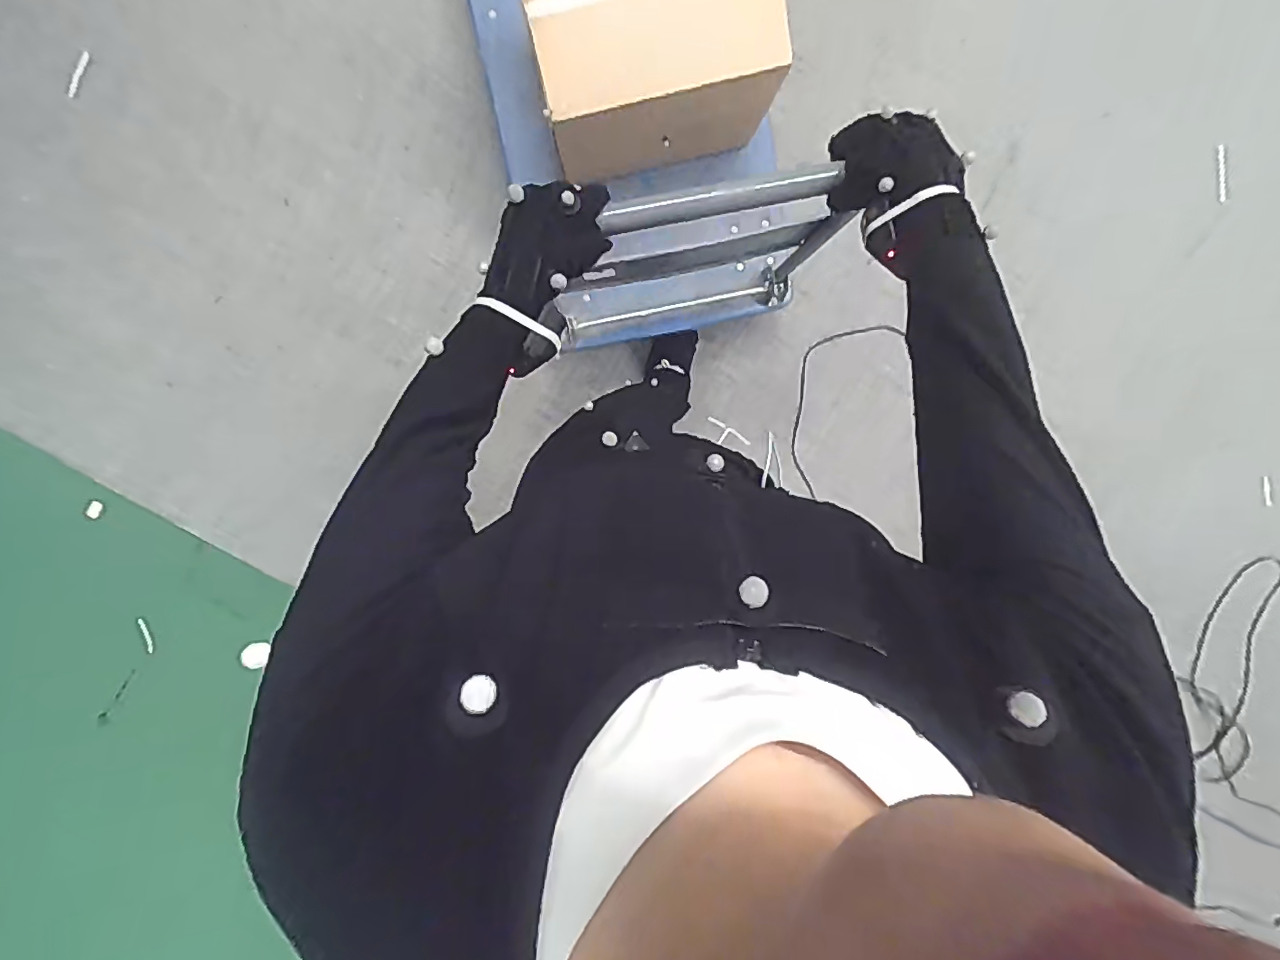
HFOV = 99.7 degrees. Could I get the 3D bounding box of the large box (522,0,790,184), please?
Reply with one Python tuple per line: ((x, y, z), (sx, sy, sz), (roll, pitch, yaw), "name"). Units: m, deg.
((0.014, -0.803, 0.999), (0.408, 0.320, 0.320), (-14, 101, 1), "large box")
